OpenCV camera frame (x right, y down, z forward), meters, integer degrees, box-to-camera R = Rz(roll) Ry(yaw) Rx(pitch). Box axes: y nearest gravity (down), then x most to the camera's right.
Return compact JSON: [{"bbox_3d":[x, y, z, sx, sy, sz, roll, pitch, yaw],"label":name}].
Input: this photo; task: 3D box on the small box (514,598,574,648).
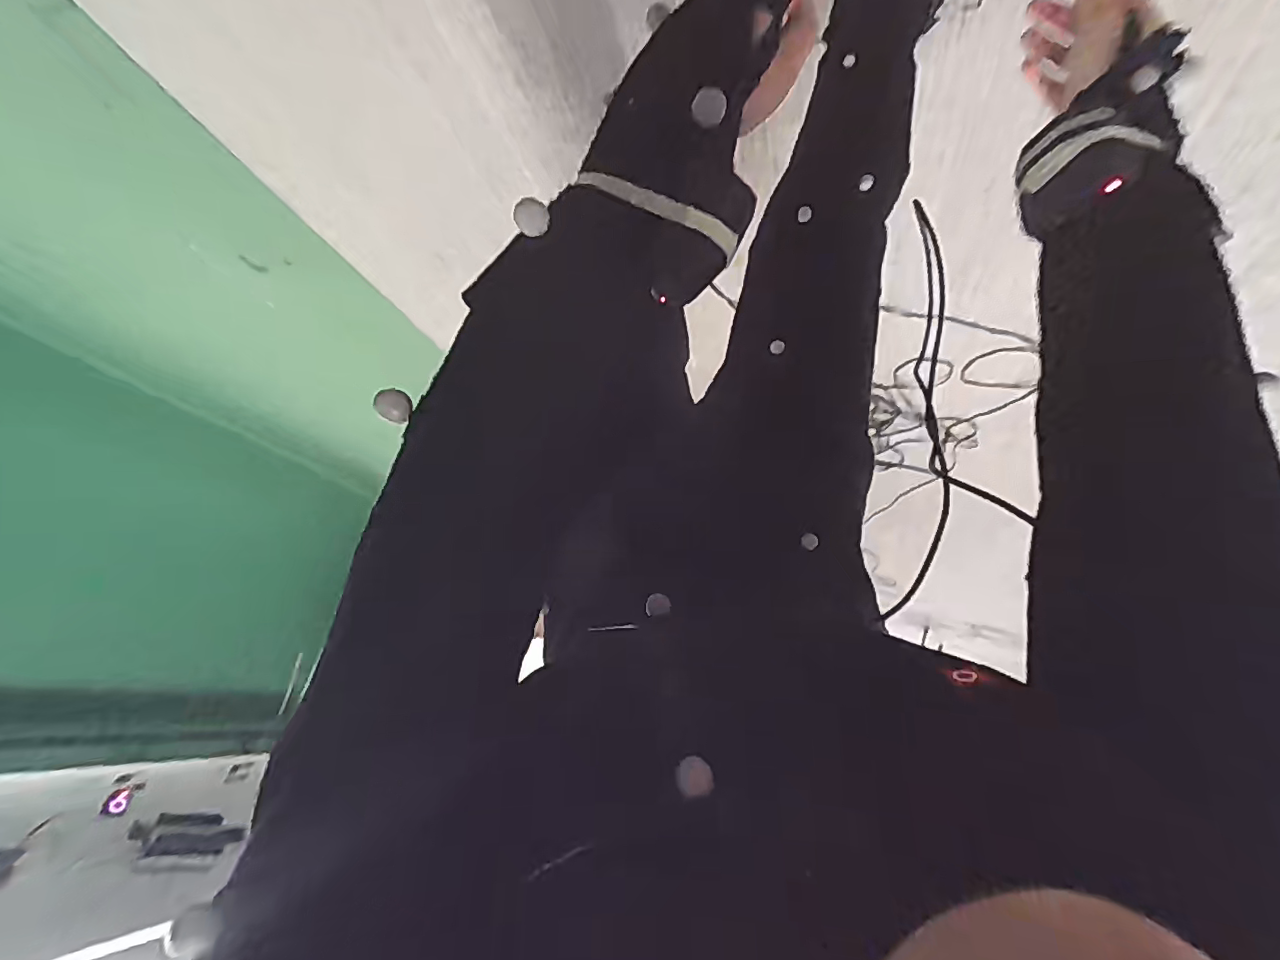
[{"bbox_3d":[-0.422,0.631,2.400,0.168,0.176,0.179,8,161,29],"label":"small box"}]
